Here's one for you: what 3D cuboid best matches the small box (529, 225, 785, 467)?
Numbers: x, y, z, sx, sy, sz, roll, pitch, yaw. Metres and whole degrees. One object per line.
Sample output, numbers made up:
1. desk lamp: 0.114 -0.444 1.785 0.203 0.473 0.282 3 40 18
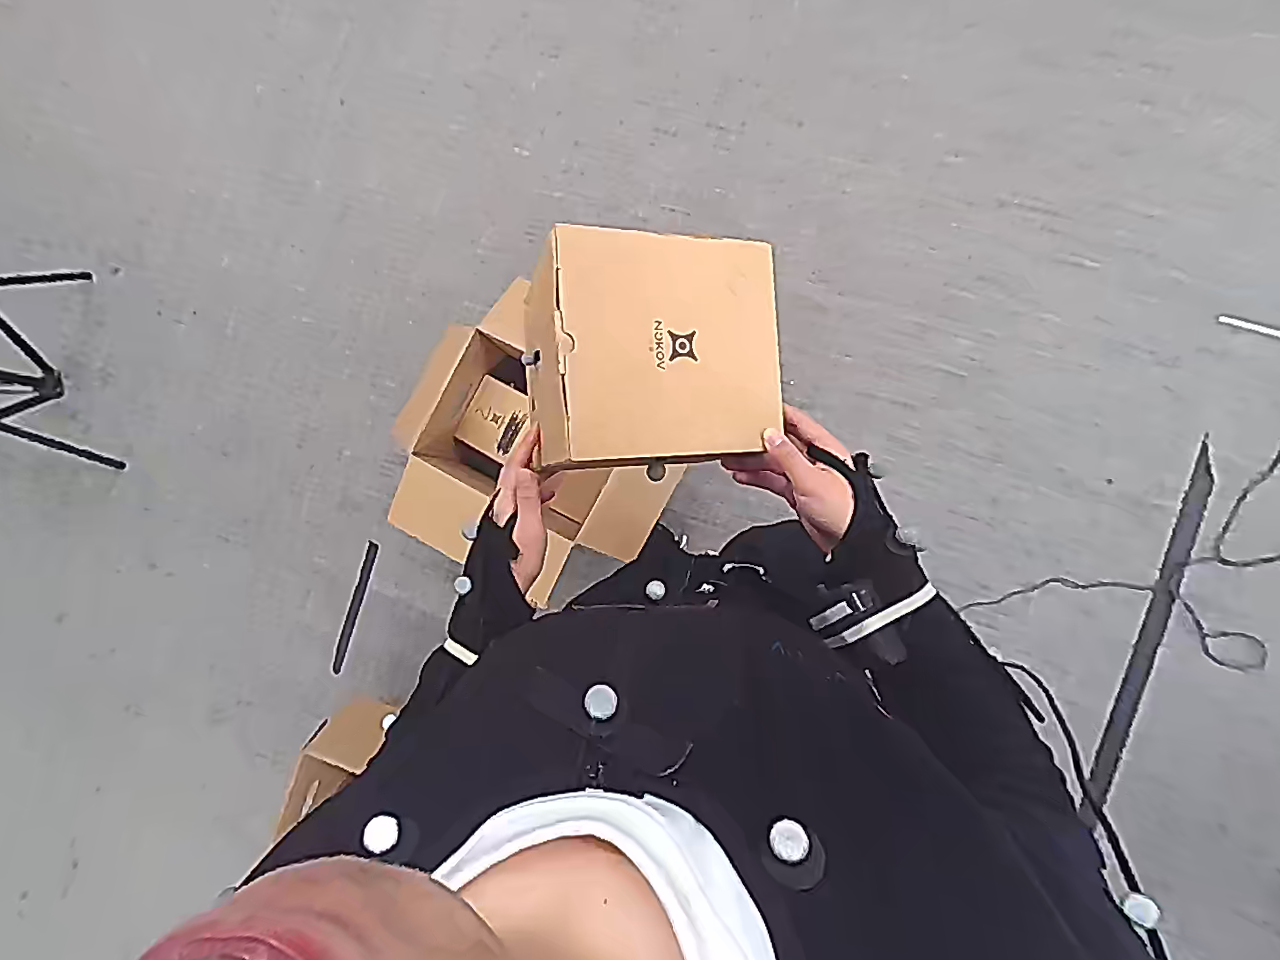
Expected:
1. small box: 0.005 -0.099 0.477 0.179 0.176 0.168 -4 90 -19
